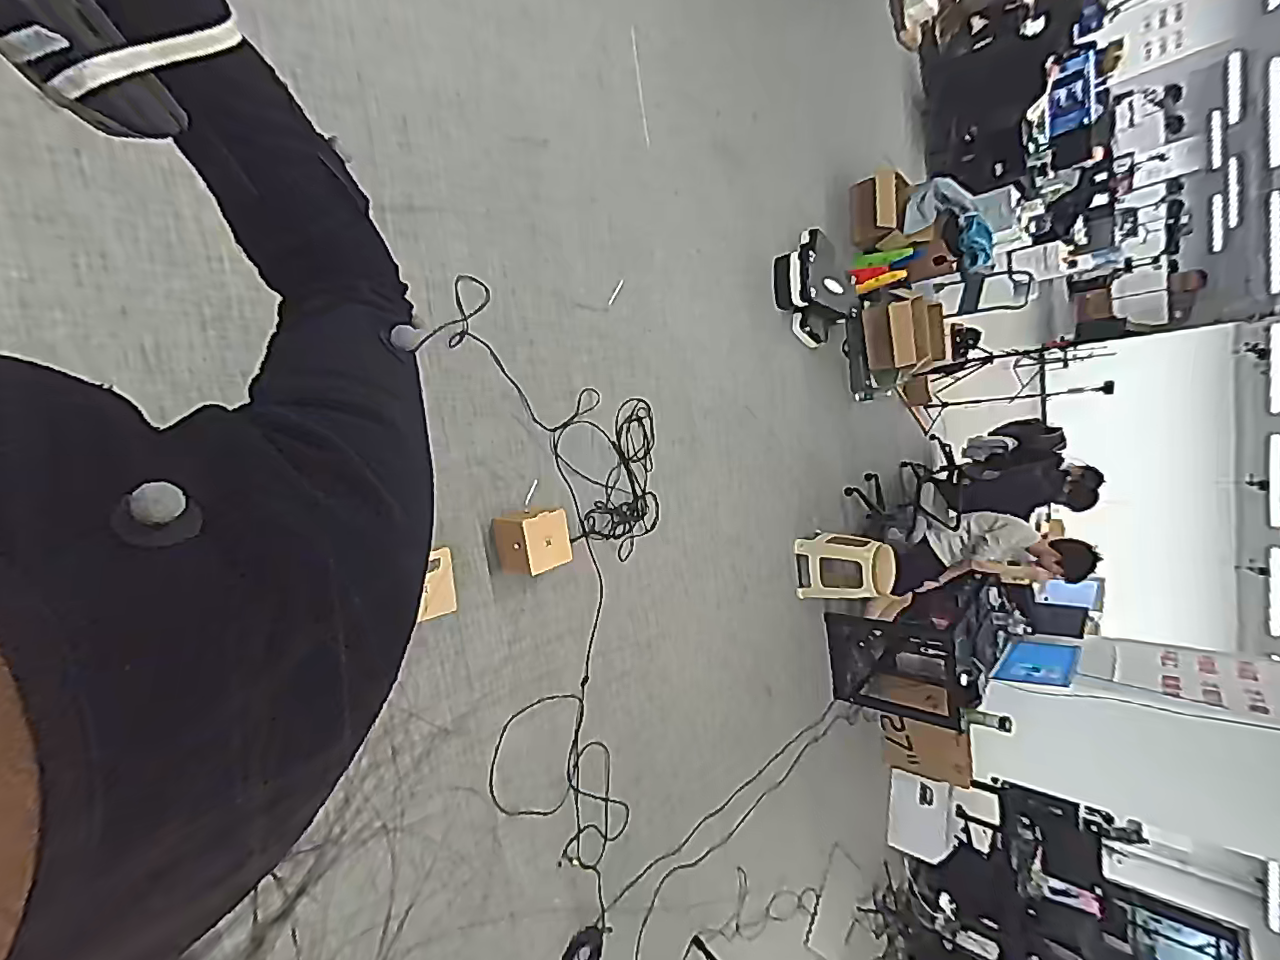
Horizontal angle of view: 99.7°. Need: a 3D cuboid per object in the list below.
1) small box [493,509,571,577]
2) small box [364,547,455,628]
[{"bbox_3d":[-0.347,0.196,1.728,0.168,0.176,0.179,-16,100,-46],"label":"small box"},{"bbox_3d":[-0.616,0.277,1.438,0.168,0.176,0.179,-9,96,-47],"label":"small box"}]
